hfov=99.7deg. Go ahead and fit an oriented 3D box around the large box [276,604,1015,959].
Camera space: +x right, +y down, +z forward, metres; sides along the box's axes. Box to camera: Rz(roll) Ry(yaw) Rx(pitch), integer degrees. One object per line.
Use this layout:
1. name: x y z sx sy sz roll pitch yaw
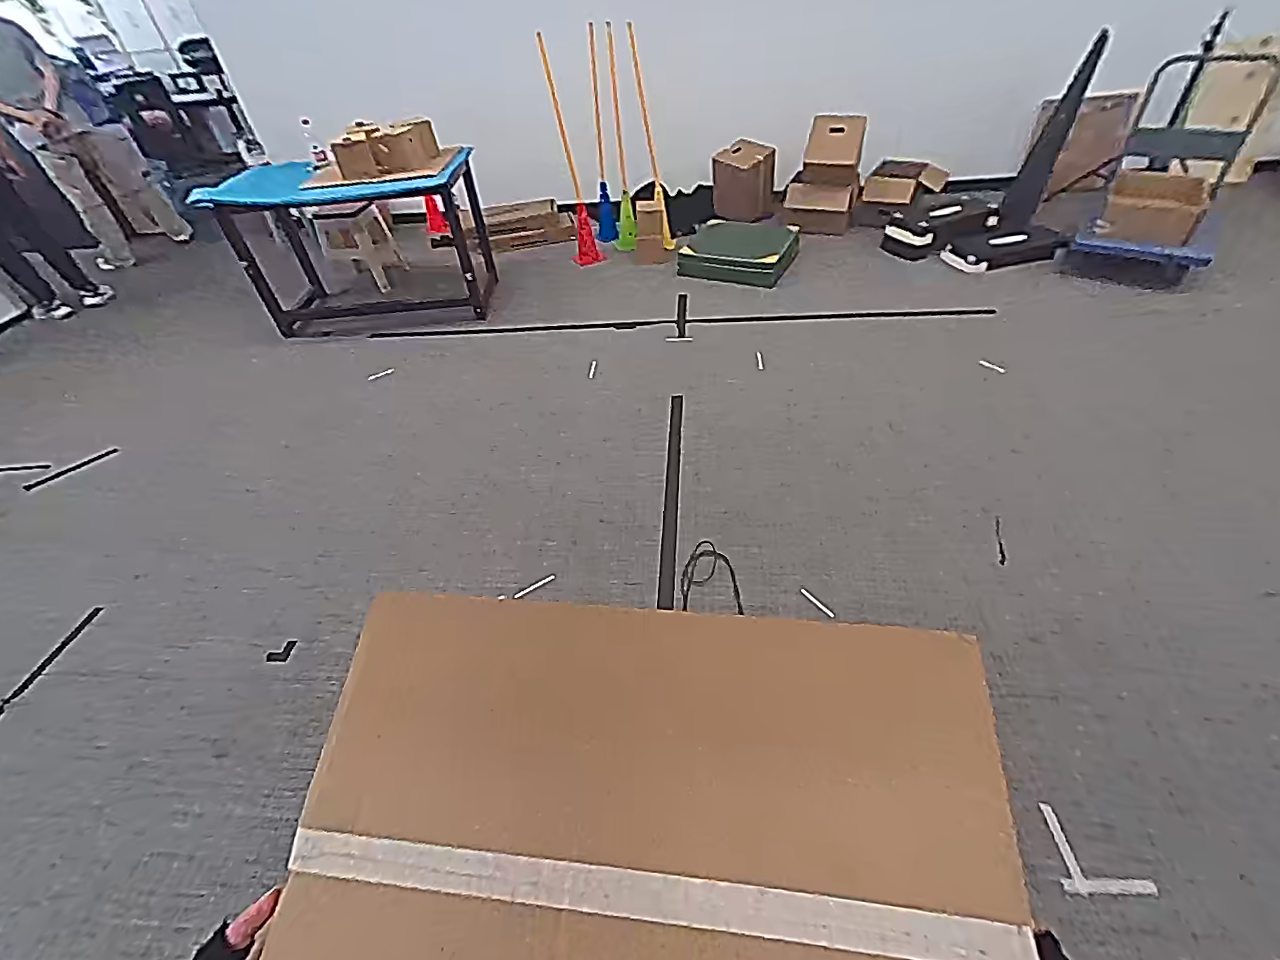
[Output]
1. large box: 0.011 0.304 0.434 0.408 0.320 0.320 3 63 9
